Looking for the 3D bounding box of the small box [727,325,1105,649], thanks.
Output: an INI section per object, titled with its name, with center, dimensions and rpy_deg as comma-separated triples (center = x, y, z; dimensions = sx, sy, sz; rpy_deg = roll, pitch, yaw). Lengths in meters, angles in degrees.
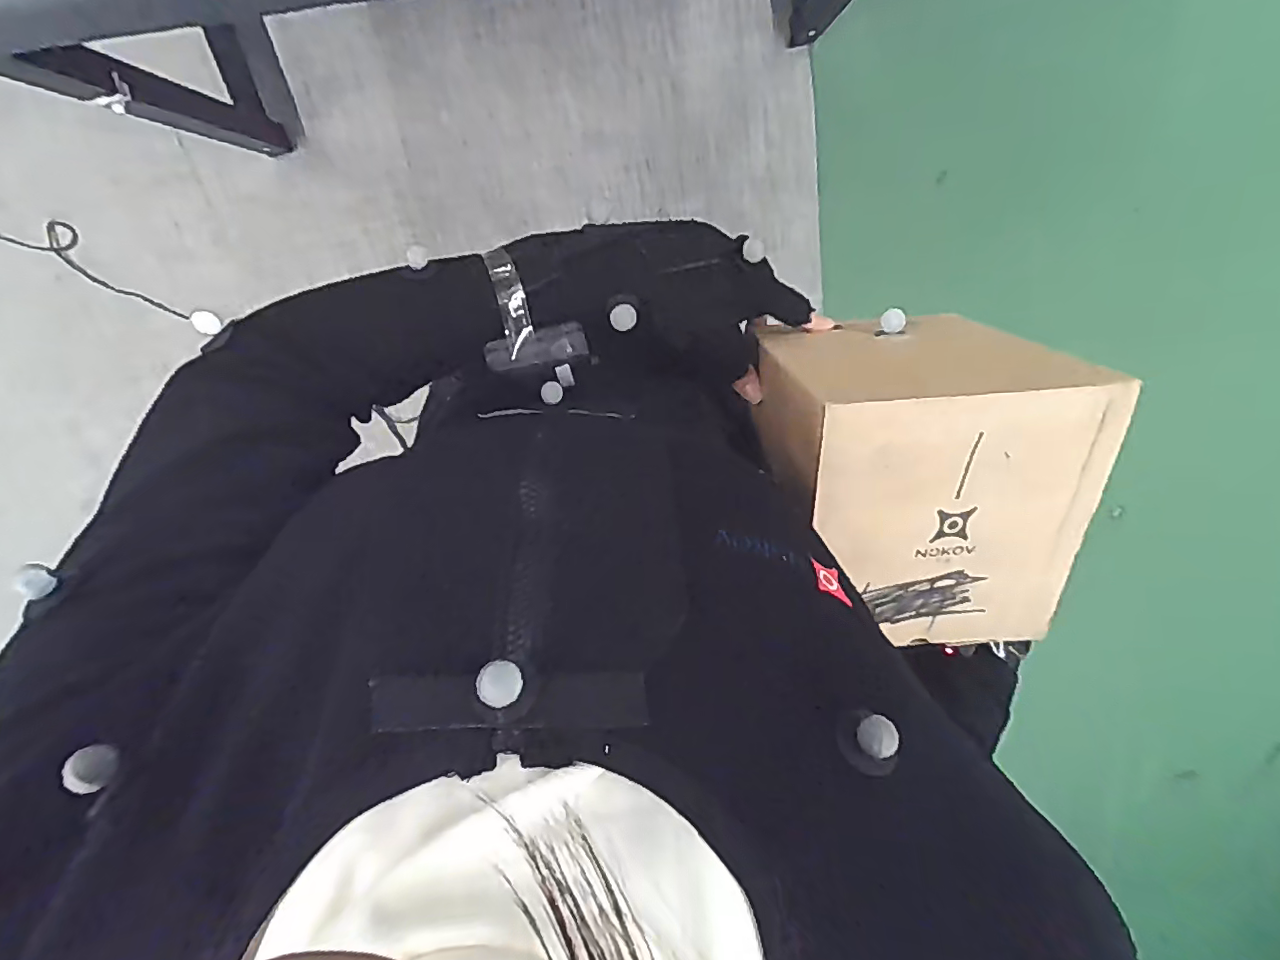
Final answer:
[small box]
center = 0.162, -0.005, 0.392
dimensions = 0.168, 0.176, 0.179
rpy_deg = -3, 117, -3
